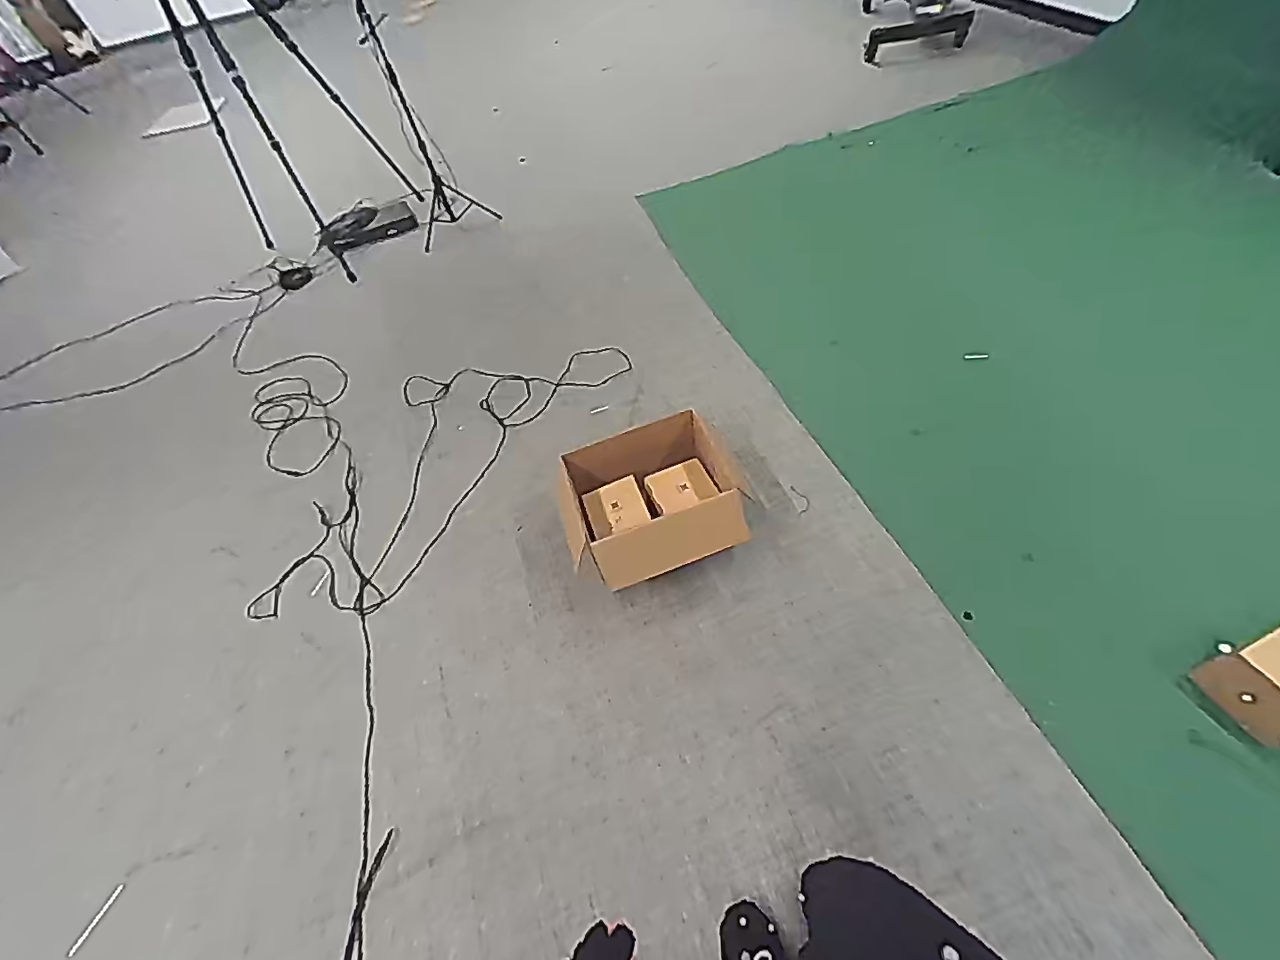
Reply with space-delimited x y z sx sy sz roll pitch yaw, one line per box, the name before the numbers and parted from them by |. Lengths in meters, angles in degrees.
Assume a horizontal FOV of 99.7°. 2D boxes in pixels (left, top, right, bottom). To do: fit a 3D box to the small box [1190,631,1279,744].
small box | 1.377 0.446 1.163 0.168 0.176 0.179 -23 53 -8
